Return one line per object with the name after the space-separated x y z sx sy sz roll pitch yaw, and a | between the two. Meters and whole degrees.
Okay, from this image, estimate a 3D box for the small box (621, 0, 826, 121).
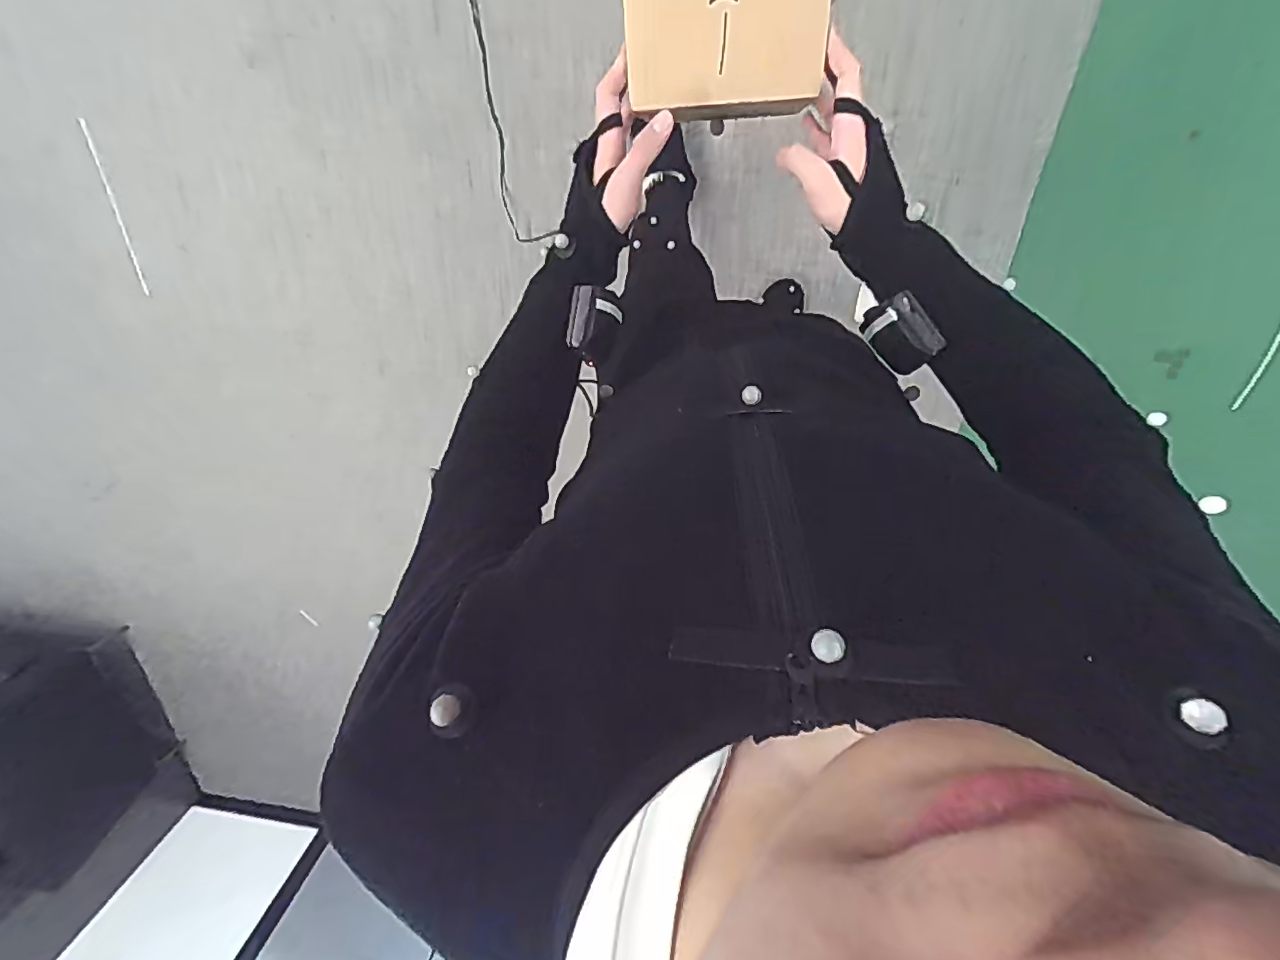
0.075 -0.440 0.491 0.168 0.176 0.179 2 121 9 | small box
